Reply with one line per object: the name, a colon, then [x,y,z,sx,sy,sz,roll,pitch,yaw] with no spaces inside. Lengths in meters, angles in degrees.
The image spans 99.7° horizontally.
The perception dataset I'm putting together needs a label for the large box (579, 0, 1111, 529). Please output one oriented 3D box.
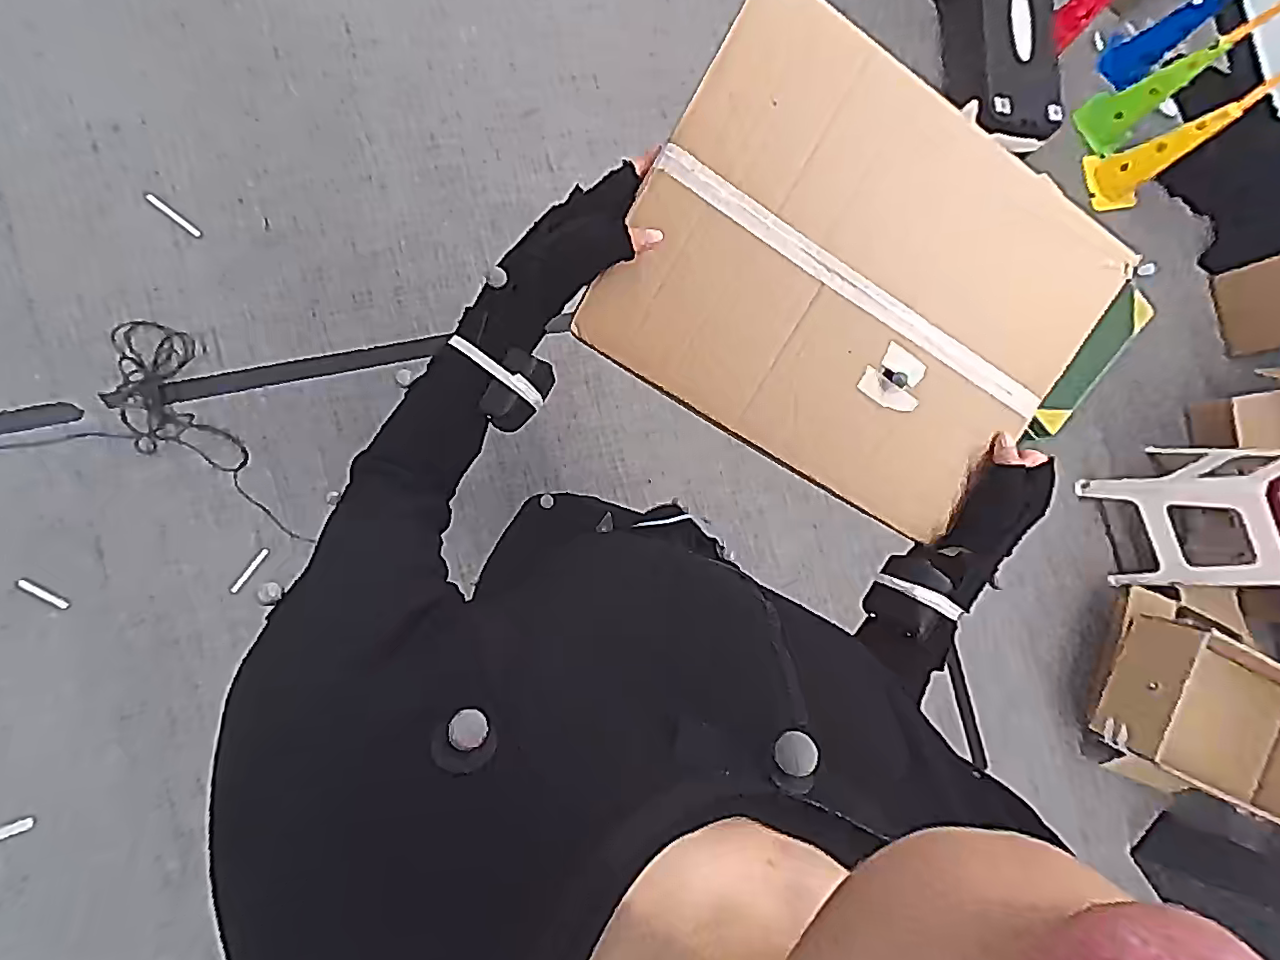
large box: [0.173,-0.203,0.623,0.408,0.320,0.320,29,100,-12]
